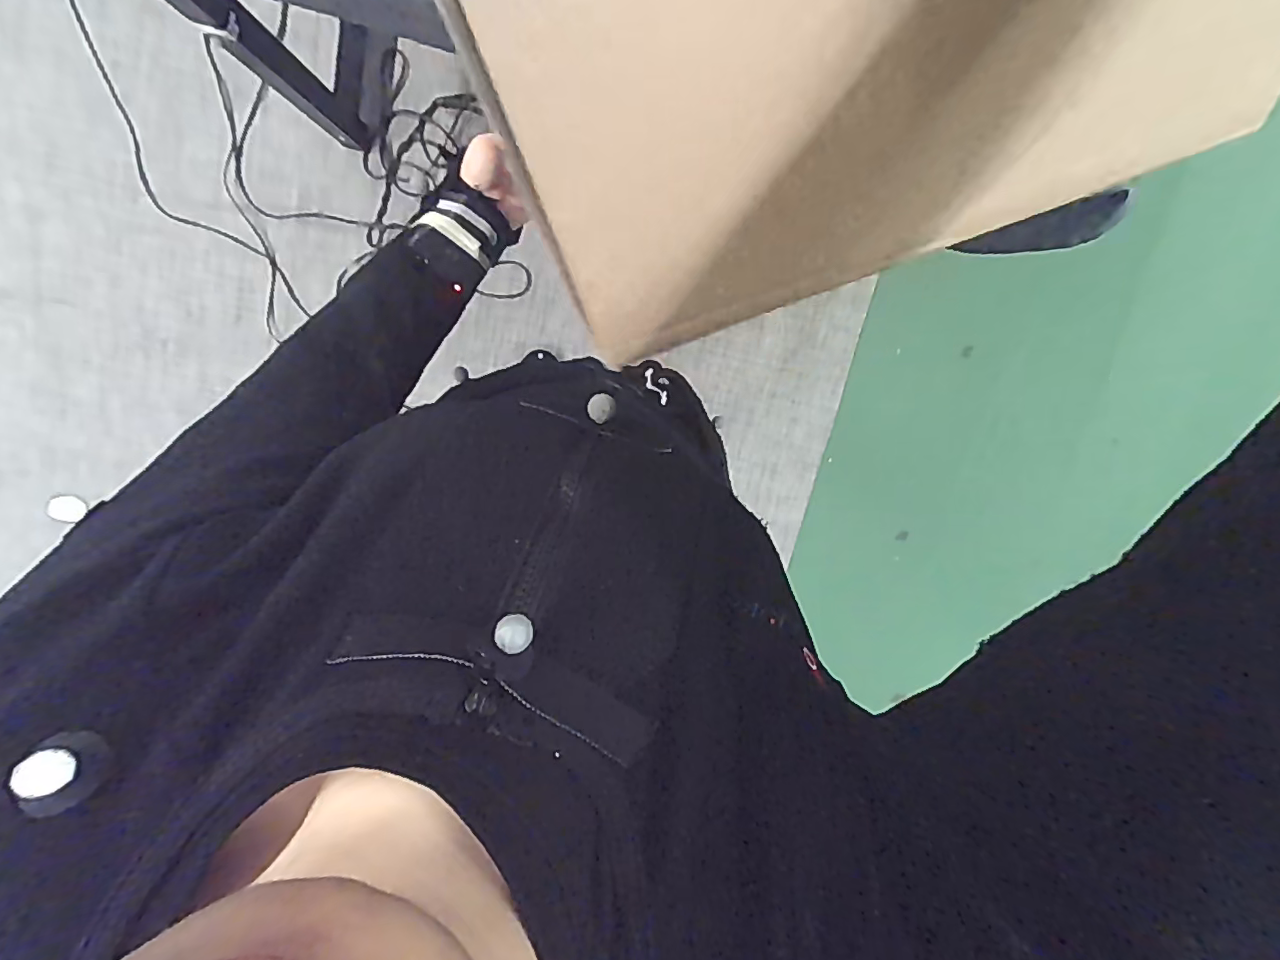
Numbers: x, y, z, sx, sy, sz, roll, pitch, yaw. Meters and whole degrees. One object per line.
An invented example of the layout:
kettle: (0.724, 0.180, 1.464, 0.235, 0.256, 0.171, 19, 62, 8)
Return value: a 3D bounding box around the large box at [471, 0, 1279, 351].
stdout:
large box: (0.042, -0.342, 0.256, 0.320, 0.408, 0.320, -22, 143, 2)
